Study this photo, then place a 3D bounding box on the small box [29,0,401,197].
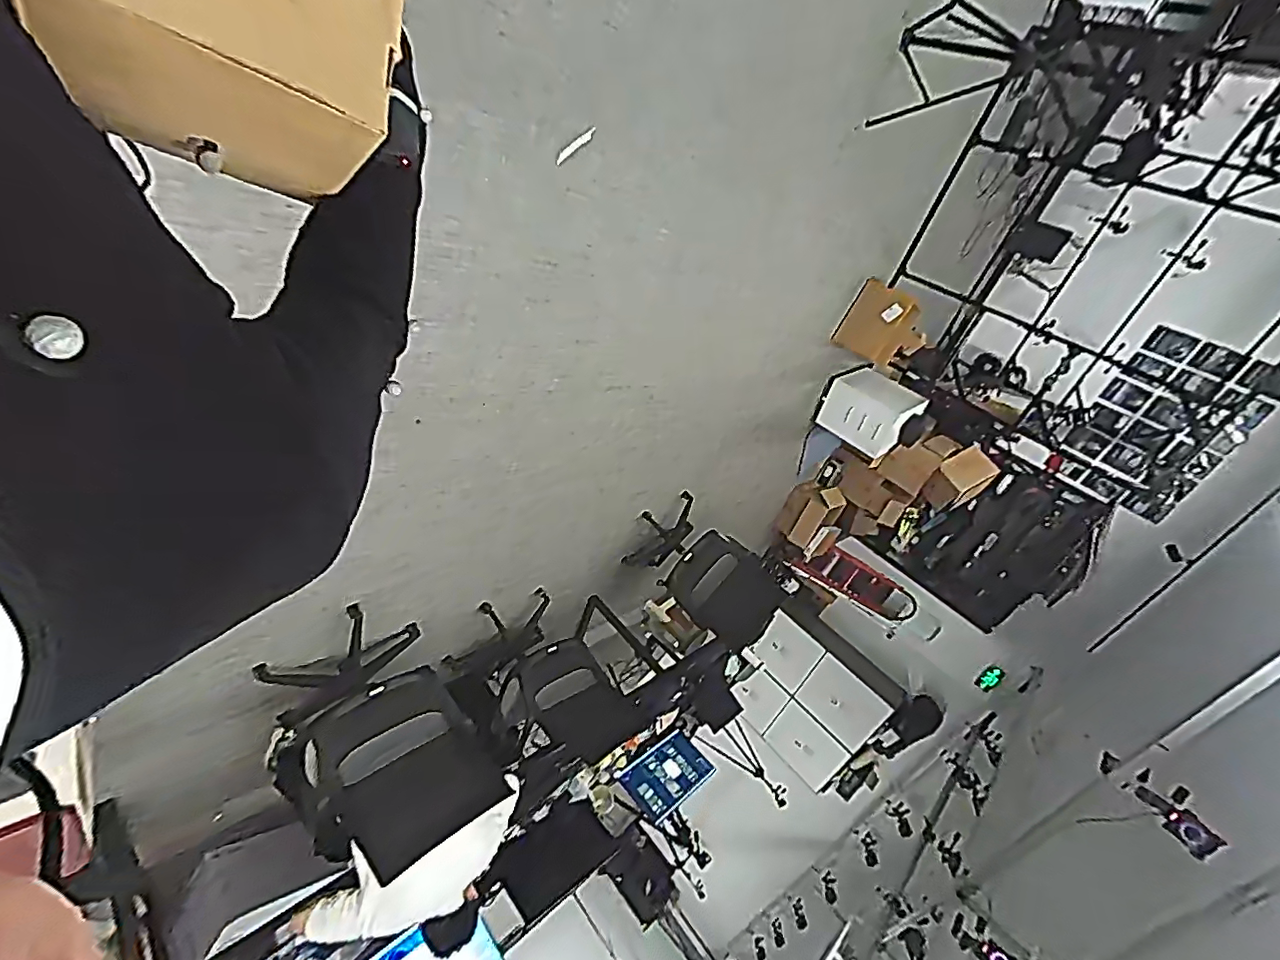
[{"bbox_3d":[-0.292,-0.331,0.384,0.179,0.176,0.168,5,88,-45],"label":"small box"}]
